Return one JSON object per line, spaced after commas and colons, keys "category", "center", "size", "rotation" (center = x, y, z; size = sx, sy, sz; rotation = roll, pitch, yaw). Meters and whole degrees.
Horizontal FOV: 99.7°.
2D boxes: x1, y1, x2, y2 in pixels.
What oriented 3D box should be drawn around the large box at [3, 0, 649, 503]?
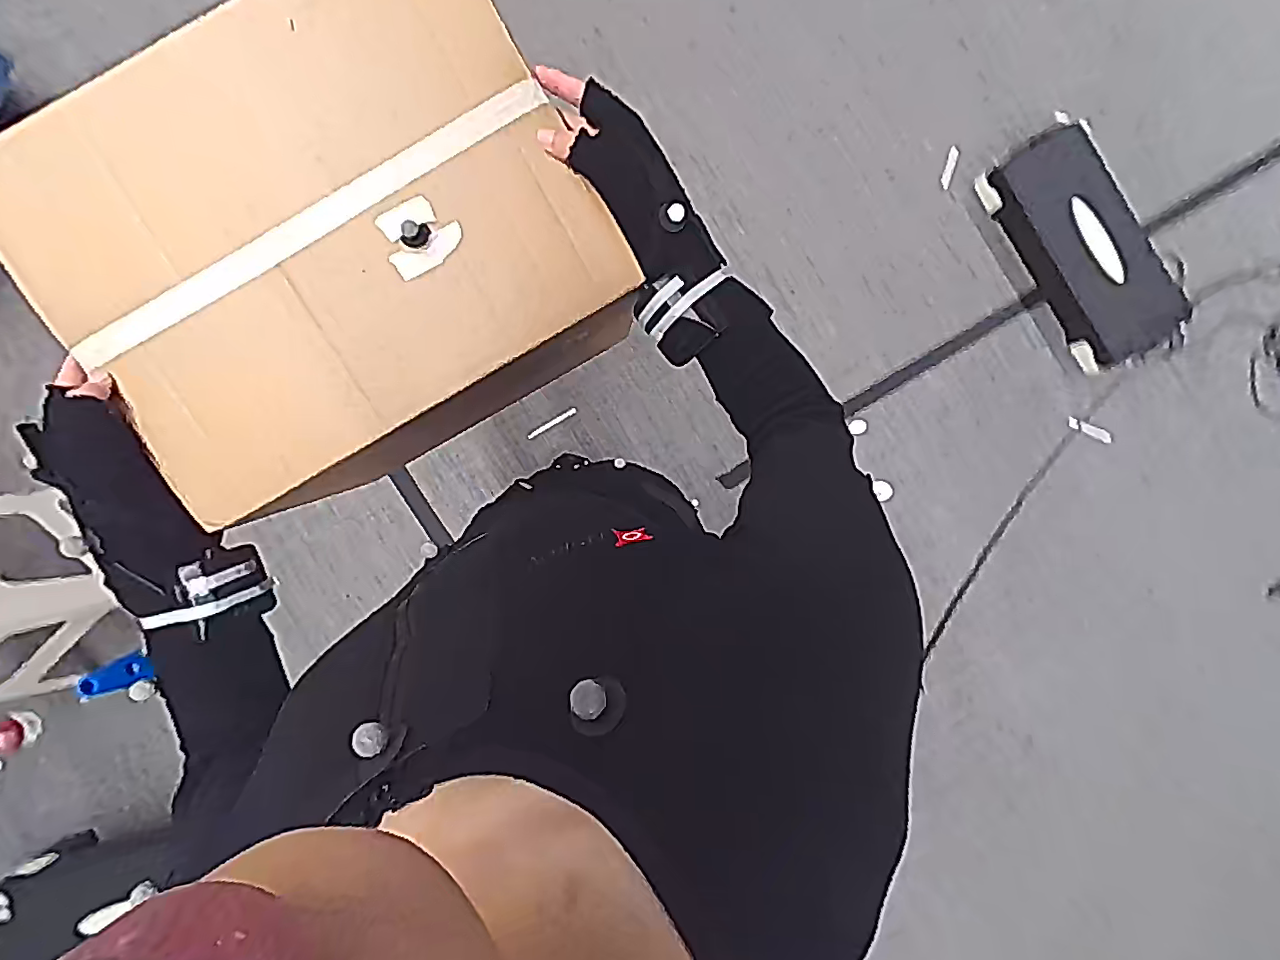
{"category": "large box", "center": [-0.244, -0.221, 0.567], "size": [0.408, 0.320, 0.320], "rotation": [-29, 98, 0]}
